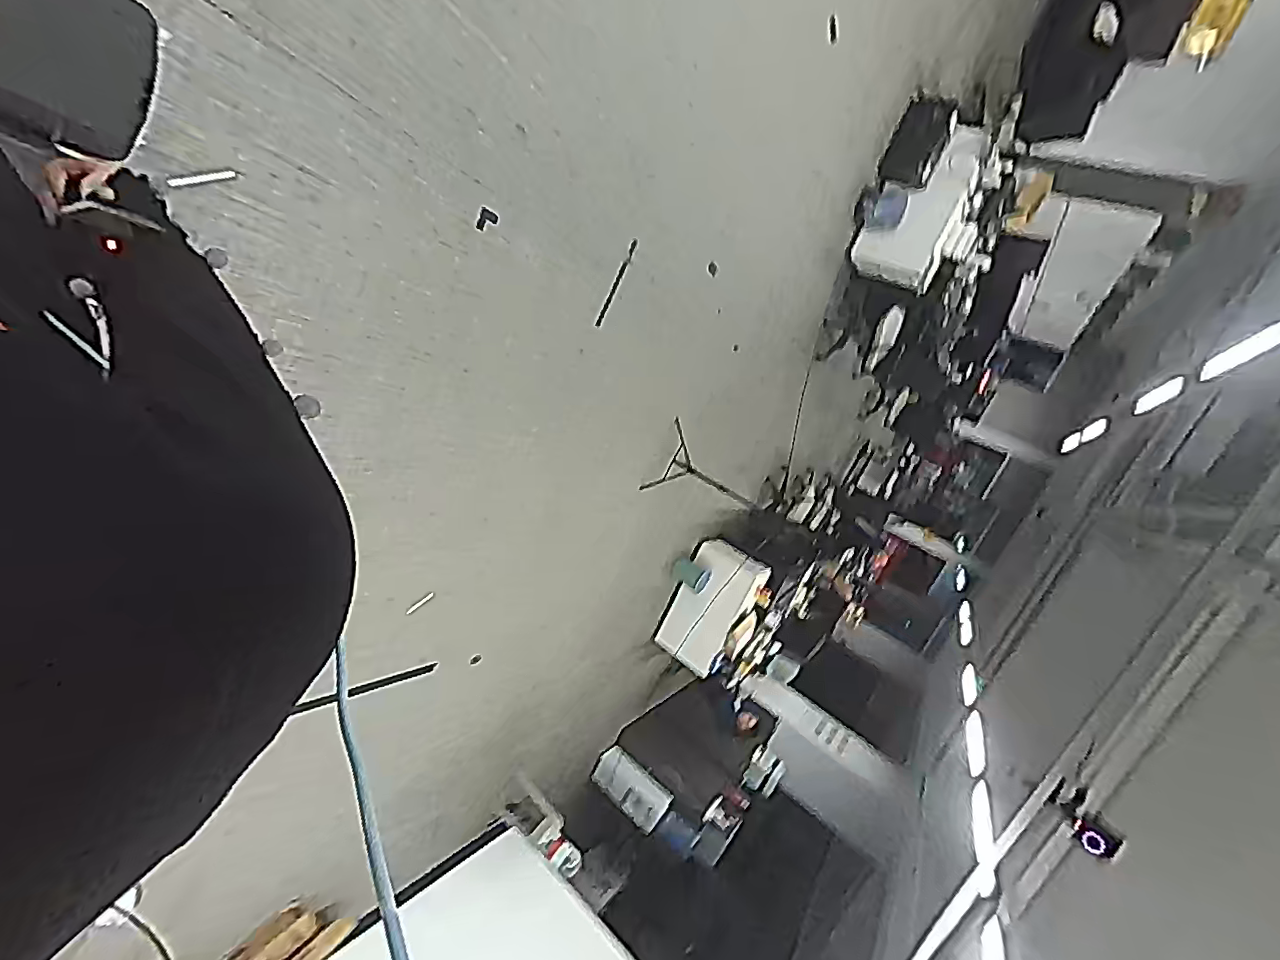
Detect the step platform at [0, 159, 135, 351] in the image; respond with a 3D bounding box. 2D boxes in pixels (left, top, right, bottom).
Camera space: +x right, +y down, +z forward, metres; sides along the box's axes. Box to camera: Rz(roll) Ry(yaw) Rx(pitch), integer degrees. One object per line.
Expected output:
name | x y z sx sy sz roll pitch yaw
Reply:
step platform | -1.195 -0.430 0.773 0.684 0.204 0.286 15 103 -60
